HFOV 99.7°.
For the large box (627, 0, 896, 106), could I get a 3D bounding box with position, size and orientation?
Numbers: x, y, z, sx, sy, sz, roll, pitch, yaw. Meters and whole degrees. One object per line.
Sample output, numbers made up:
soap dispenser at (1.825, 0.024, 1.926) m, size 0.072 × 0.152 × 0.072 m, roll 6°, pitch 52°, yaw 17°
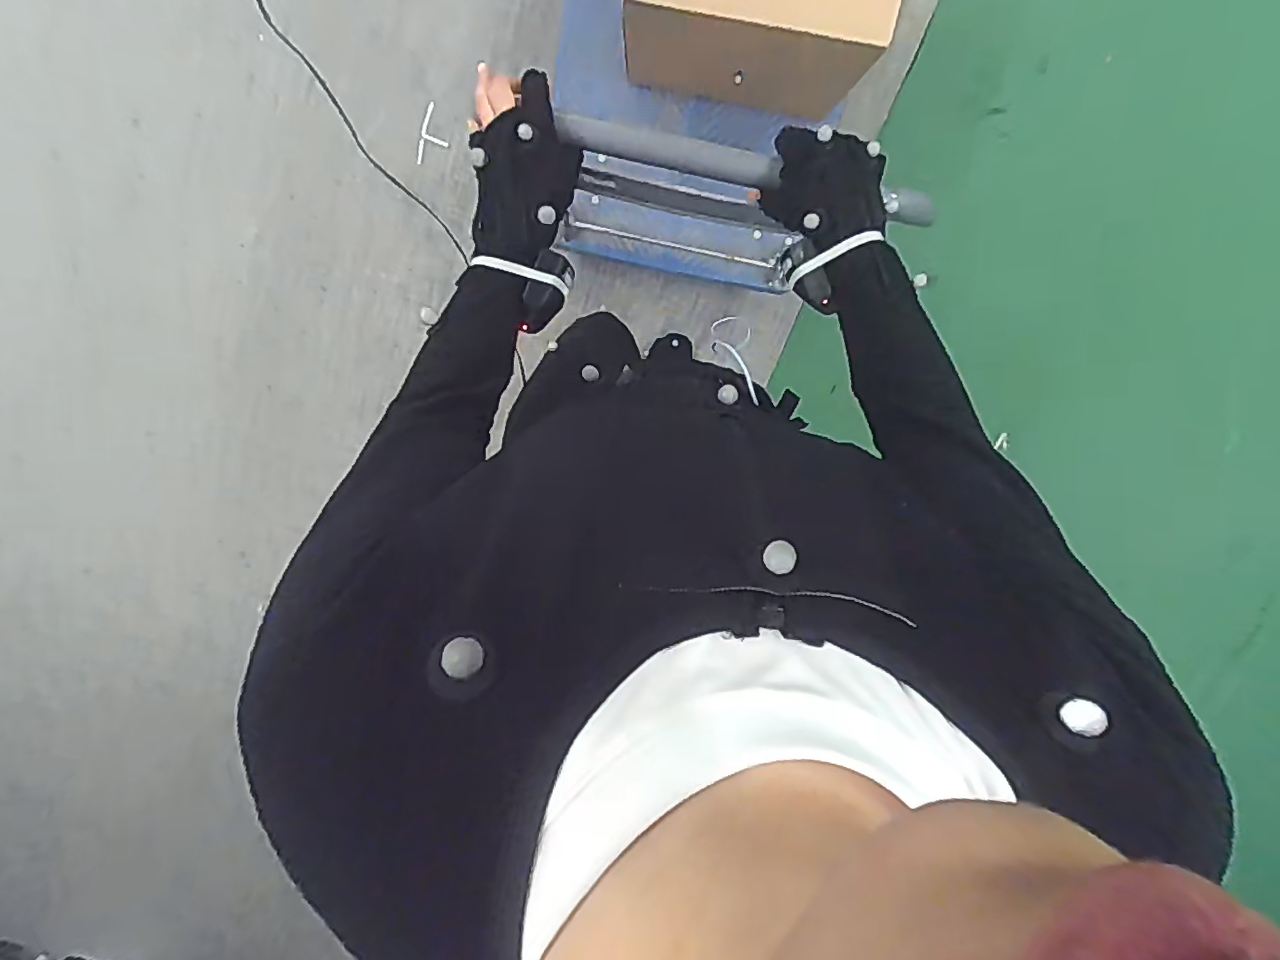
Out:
large box at (0.202, -0.876, 0.908) m, size 0.408 × 0.320 × 0.320 m, roll 8°, pitch 107°, yaw -1°
